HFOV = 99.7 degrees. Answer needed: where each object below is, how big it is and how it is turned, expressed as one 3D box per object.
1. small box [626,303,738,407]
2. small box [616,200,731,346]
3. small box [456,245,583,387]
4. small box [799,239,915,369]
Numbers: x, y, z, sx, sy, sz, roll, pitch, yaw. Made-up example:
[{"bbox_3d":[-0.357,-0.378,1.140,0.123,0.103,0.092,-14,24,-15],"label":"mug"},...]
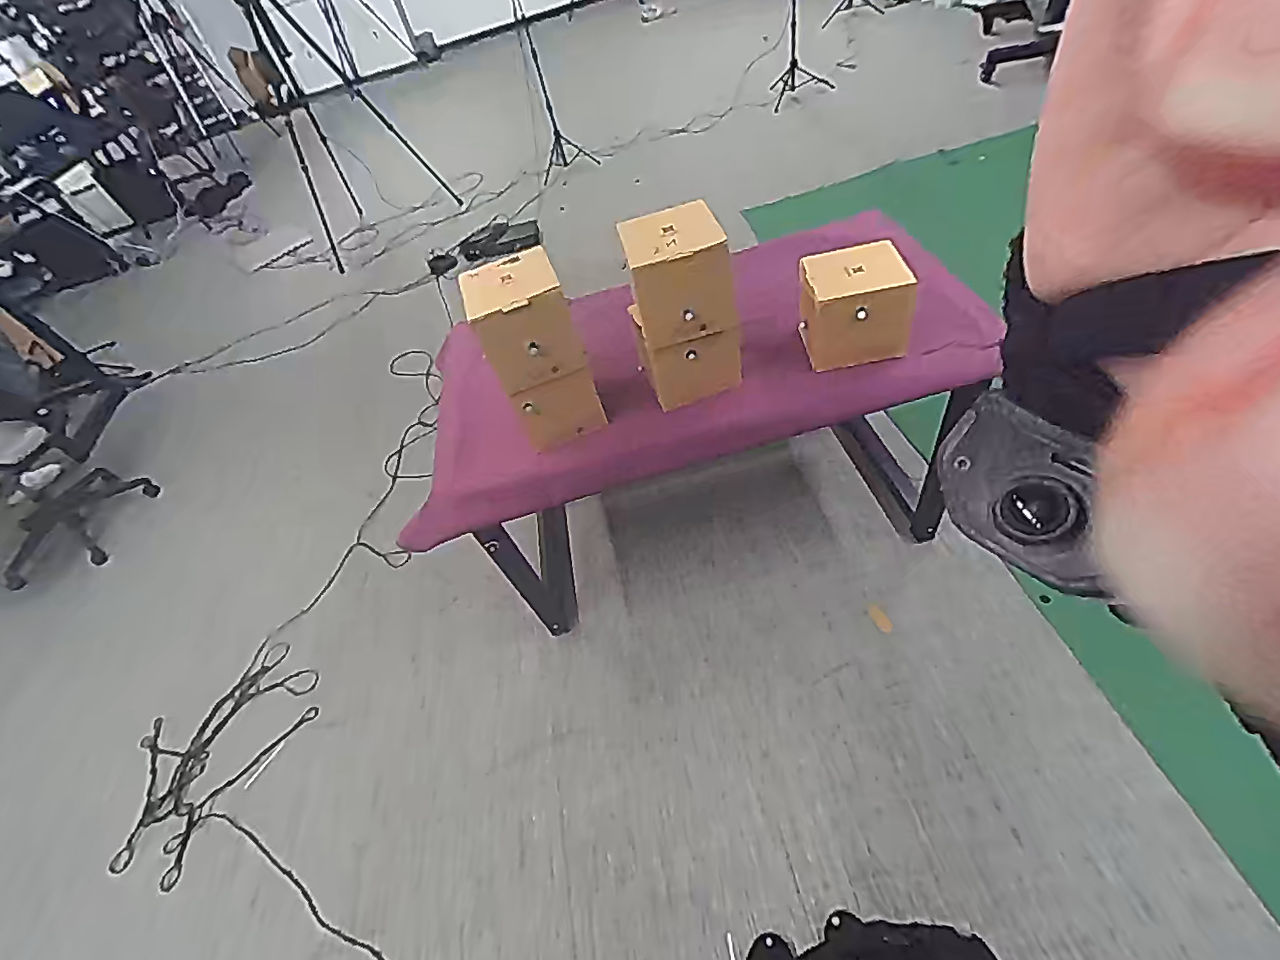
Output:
[{"bbox_3d":[0.090,-0.277,1.117,0.179,0.176,0.168,-20,49,-3],"label":"small box"},{"bbox_3d":[0.062,-0.375,0.987,0.168,0.176,0.179,-15,49,3],"label":"small box"},{"bbox_3d":[-0.217,-0.293,0.995,0.168,0.176,0.179,-21,49,-3],"label":"small box"},{"bbox_3d":[0.421,-0.348,1.083,0.179,0.176,0.168,-10,48,10],"label":"small box"}]
